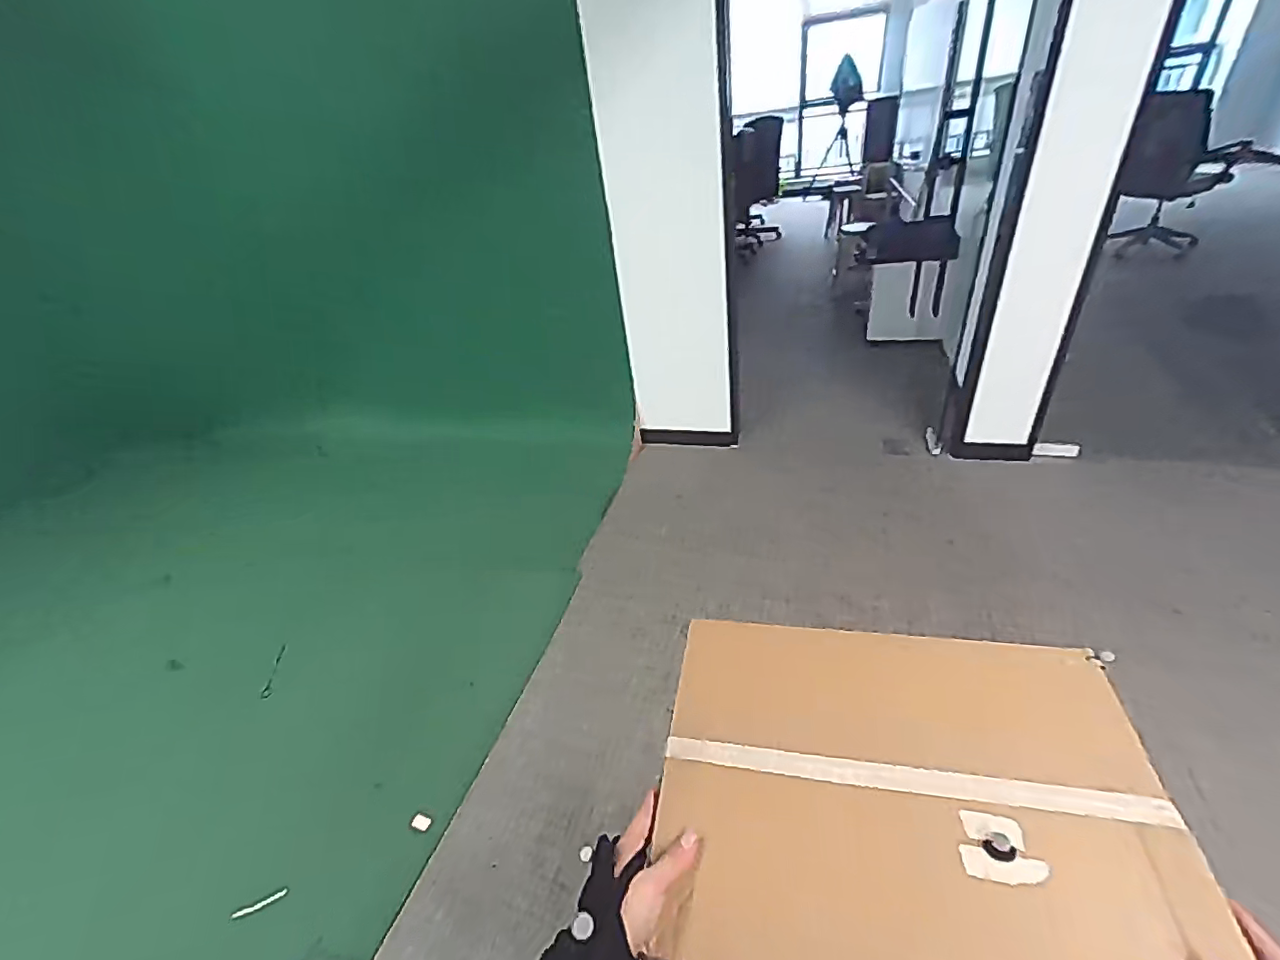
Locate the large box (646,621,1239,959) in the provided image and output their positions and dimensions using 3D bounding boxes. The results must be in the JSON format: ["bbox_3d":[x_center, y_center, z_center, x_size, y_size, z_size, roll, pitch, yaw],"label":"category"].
[{"bbox_3d":[0.242,0.378,0.564,0.408,0.320,0.320,1,38,14],"label":"large box"}]
